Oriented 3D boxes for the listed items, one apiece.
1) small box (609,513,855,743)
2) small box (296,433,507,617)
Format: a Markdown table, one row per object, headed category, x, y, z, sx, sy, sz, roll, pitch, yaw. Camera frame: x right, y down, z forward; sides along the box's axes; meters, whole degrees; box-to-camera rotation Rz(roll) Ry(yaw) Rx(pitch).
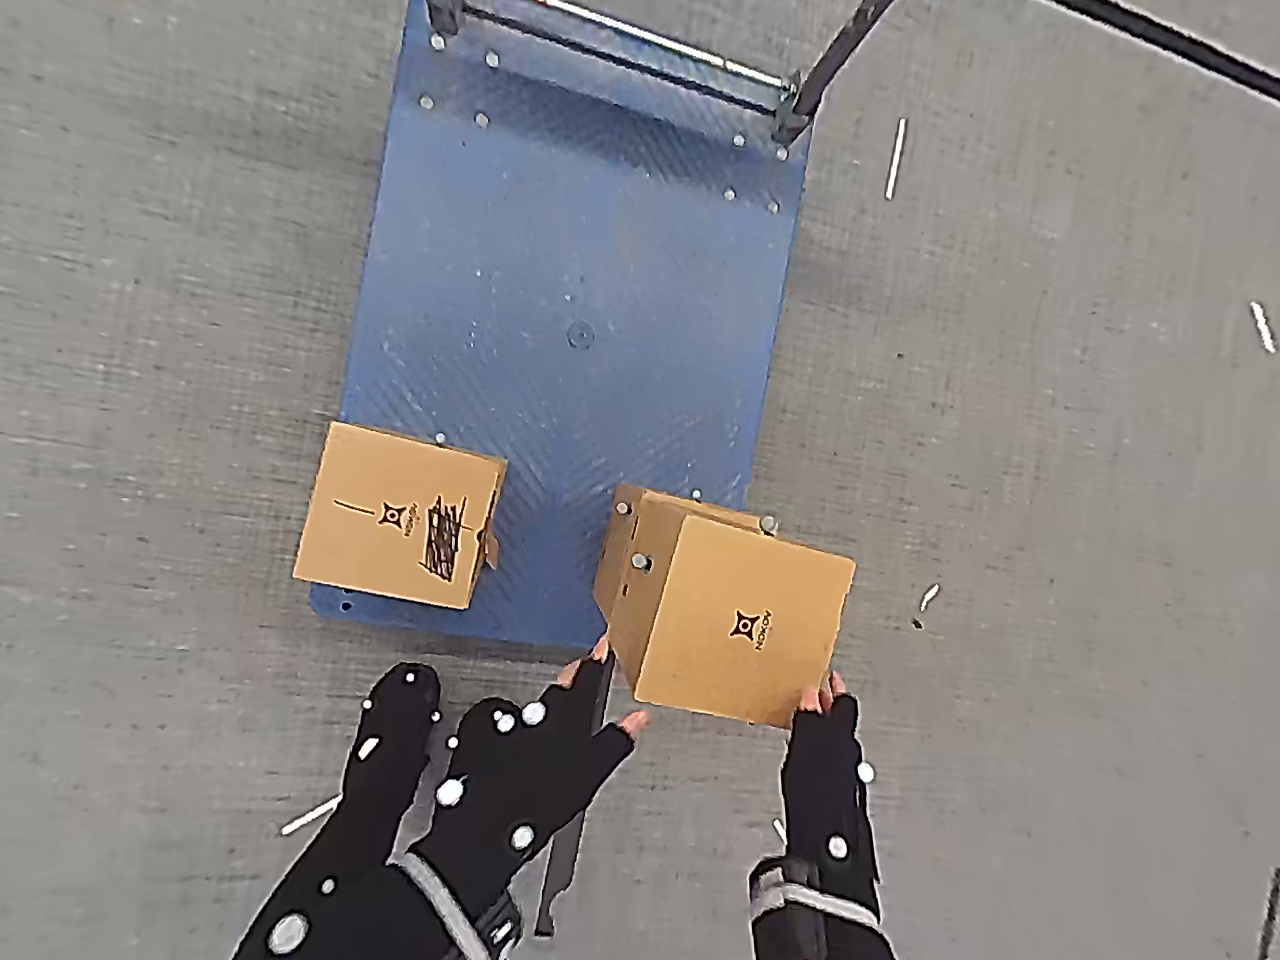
| category | x | y | z | sx | sy | sz | roll | pitch | yaw |
| --- | --- | --- | --- | --- | --- | --- | --- | --- | --- |
| small box | 0.078 | 0.136 | 0.555 | 0.179 | 0.176 | 0.168 | 17 | 89 | -13 |
| small box | -0.263 | 0.045 | 0.643 | 0.179 | 0.176 | 0.168 | 15 | 90 | -12 |
